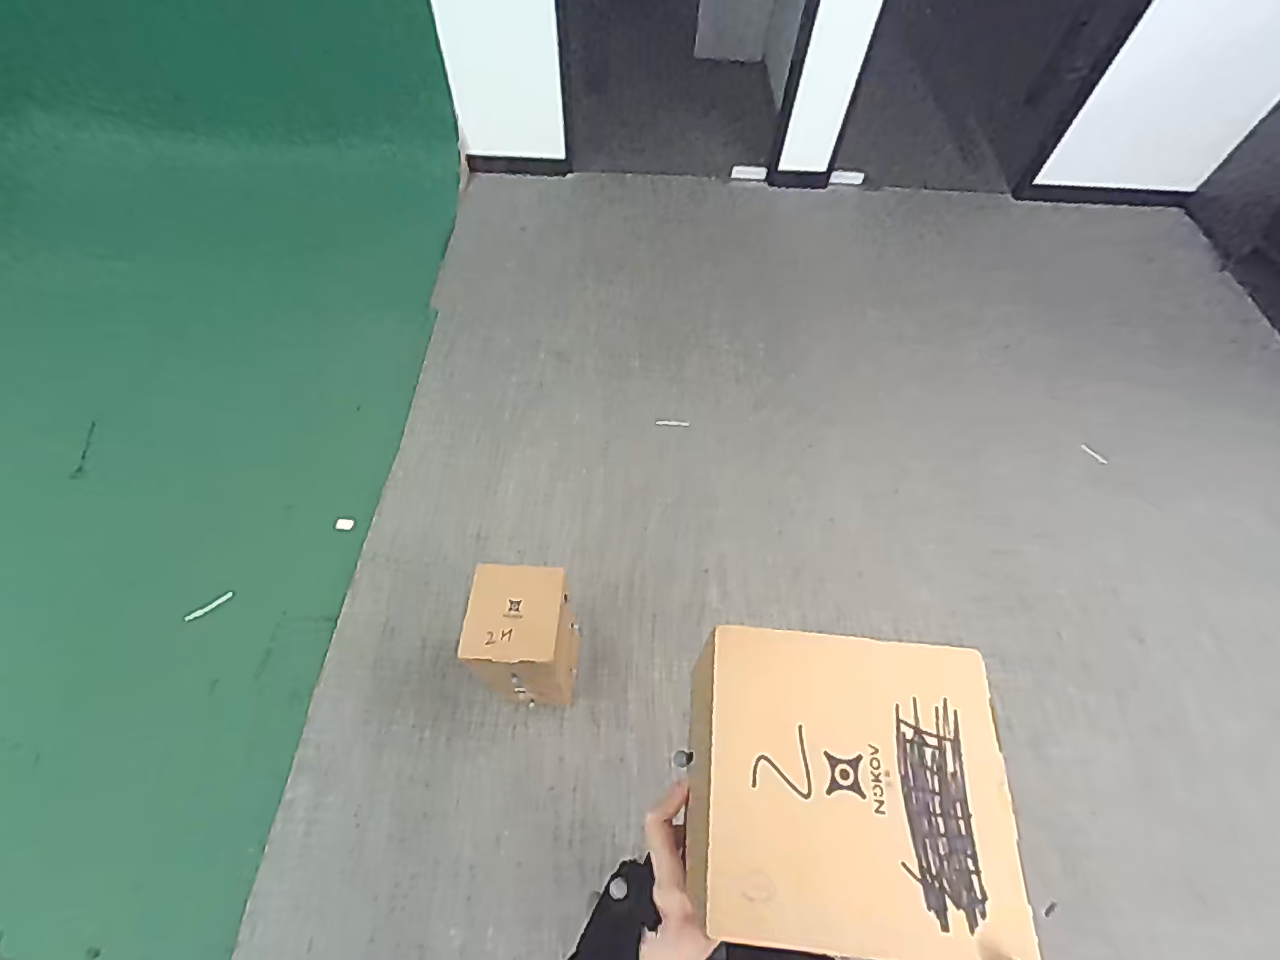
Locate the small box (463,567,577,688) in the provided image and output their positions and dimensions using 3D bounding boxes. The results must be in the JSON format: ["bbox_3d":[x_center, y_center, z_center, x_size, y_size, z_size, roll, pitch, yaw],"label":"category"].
[{"bbox_3d":[-0.214,0.280,1.019,0.168,0.176,0.179,2,58,1],"label":"small box"}]

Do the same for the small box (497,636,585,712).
[{"bbox_3d":[-0.228,0.449,1.300,0.168,0.176,0.179,6,59,2],"label":"small box"}]

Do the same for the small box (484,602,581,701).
[{"bbox_3d":[-0.220,0.365,1.161,0.168,0.176,0.179,2,59,1],"label":"small box"}]
